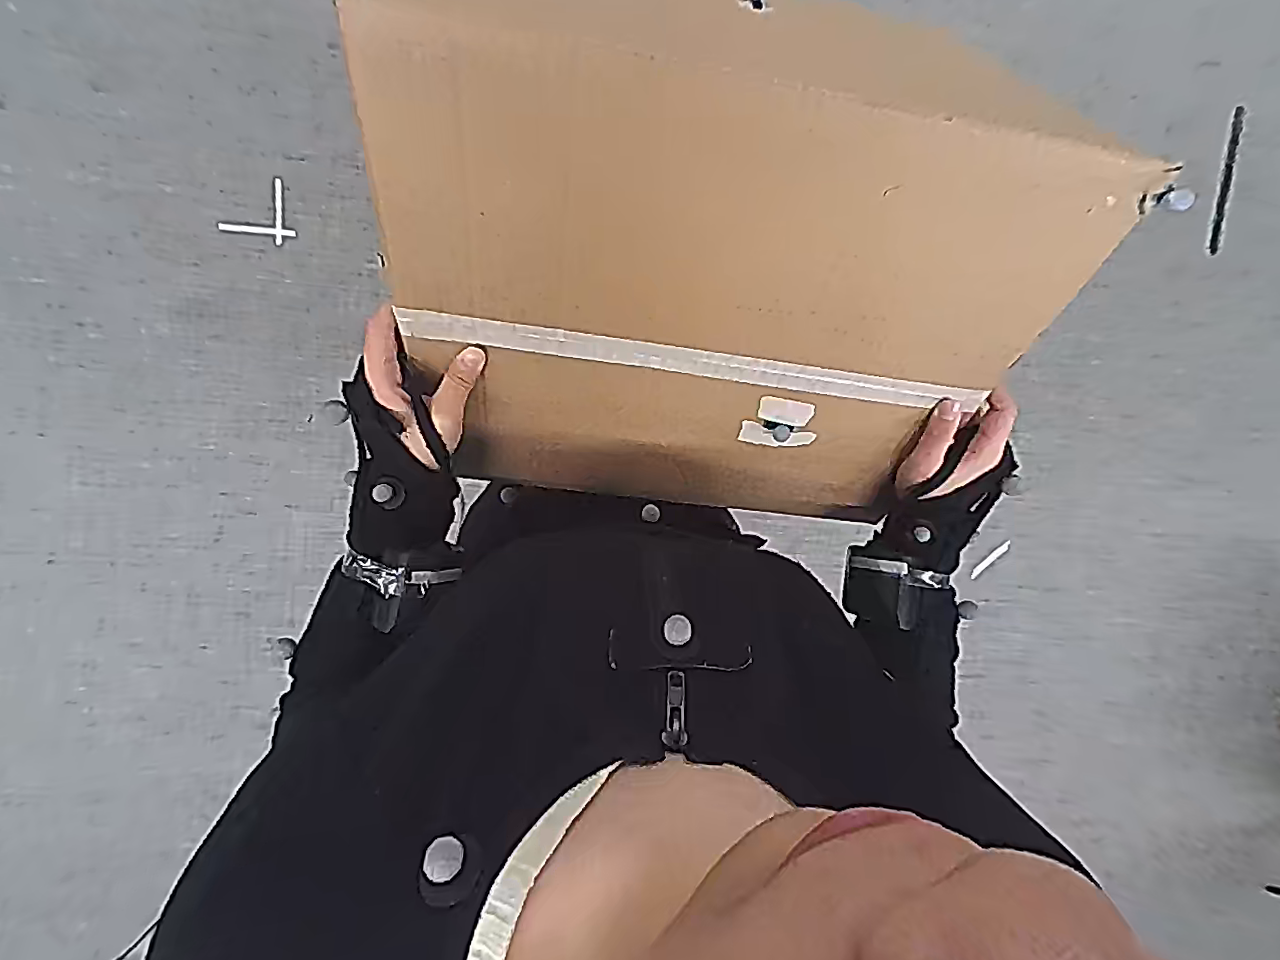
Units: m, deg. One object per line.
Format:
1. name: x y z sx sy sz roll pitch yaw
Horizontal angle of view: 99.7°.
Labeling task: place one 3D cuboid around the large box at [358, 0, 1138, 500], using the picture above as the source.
1. large box: 0.044 -0.208 0.470 0.408 0.320 0.320 5 141 -7
